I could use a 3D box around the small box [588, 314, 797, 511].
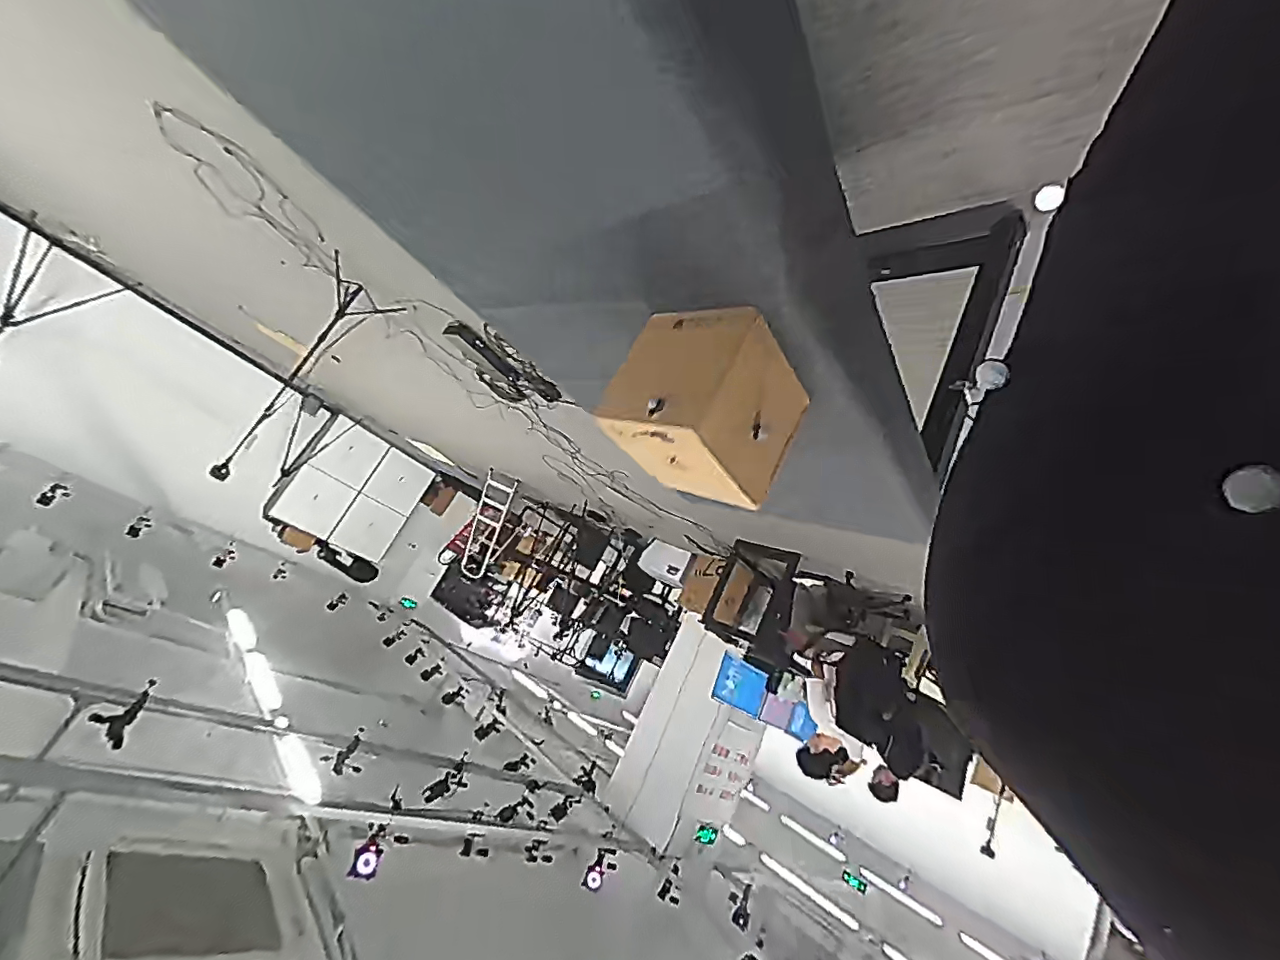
[{"bbox_3d":[0.074,-0.087,0.687,0.168,0.176,0.179,14,159,44],"label":"small box"}]
